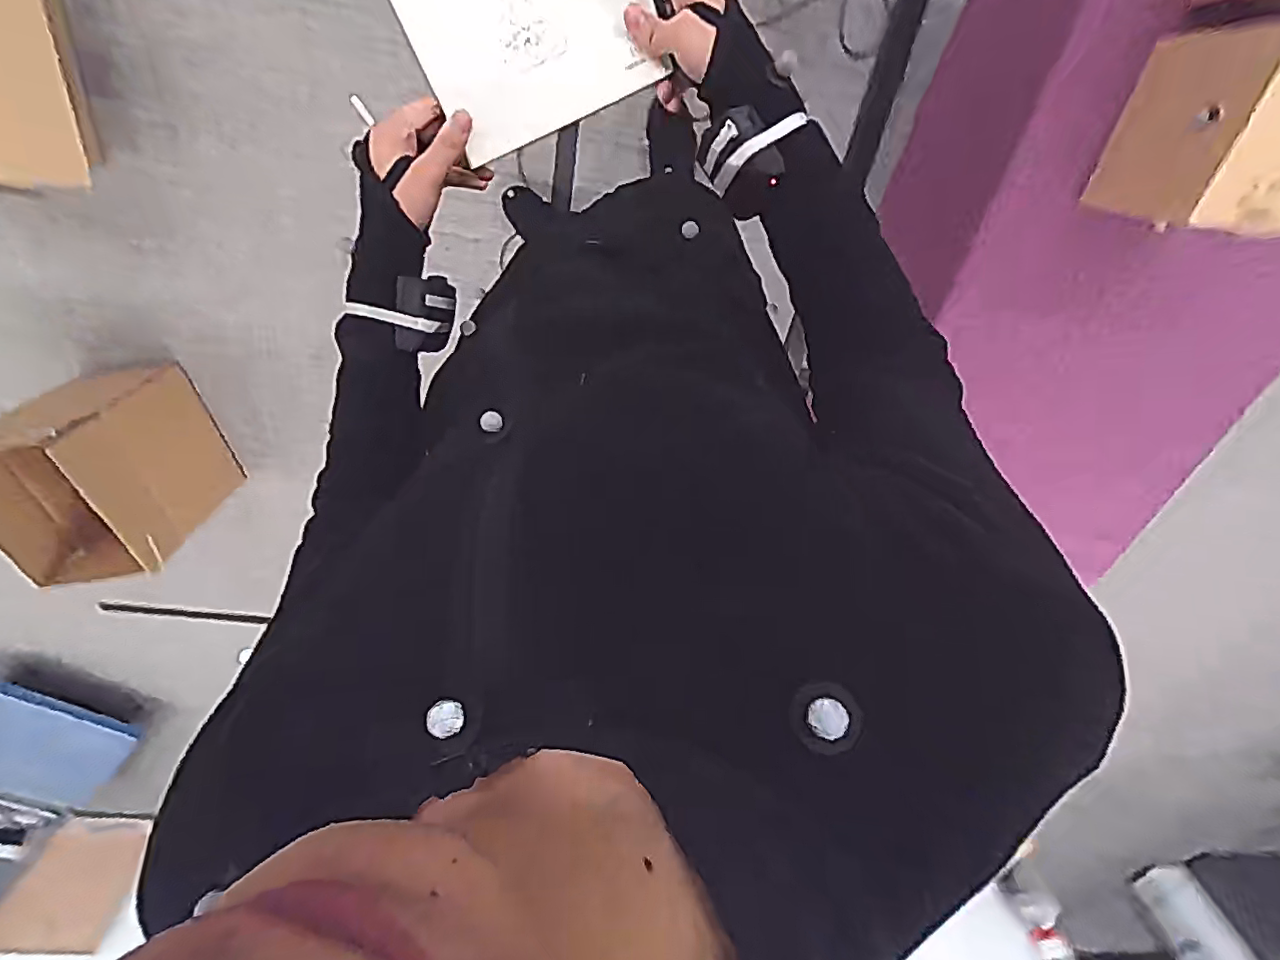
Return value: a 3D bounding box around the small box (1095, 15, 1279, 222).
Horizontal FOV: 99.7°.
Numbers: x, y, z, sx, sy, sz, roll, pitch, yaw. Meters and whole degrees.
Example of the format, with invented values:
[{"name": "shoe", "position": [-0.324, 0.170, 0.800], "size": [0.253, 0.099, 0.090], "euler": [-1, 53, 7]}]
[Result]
[{"name": "small box", "position": [0.677, -0.399, 0.605], "size": [0.168, 0.176, 0.179], "euler": [3, 125, -4]}]
